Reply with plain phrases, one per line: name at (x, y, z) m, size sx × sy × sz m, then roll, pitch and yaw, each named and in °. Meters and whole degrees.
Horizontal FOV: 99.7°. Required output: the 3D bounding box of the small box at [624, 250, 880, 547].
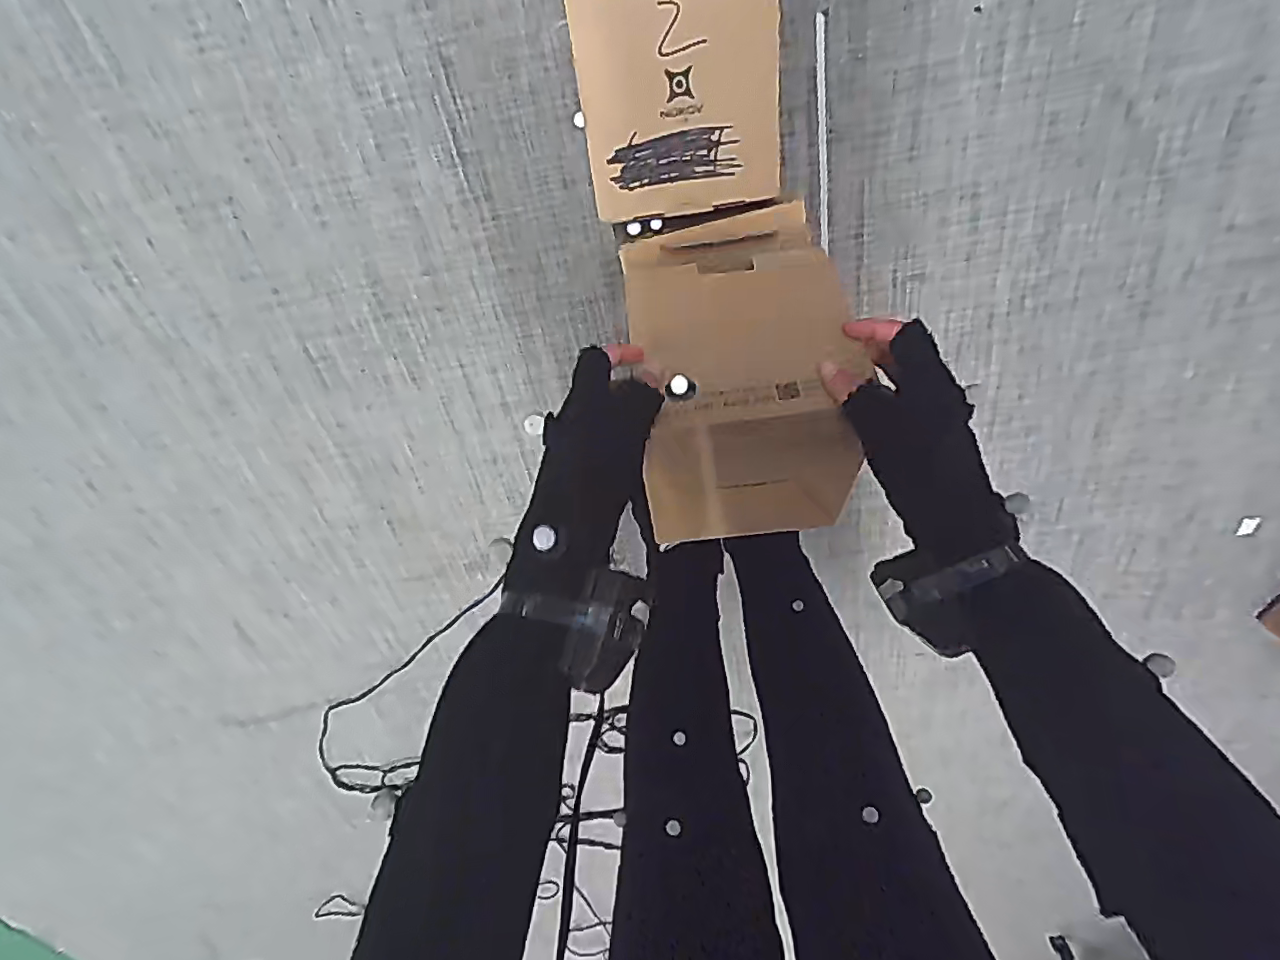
small box at (0.083, -0.060, 0.461) m, size 0.168 × 0.176 × 0.179 m, roll -6°, pitch 148°, yaw 3°
